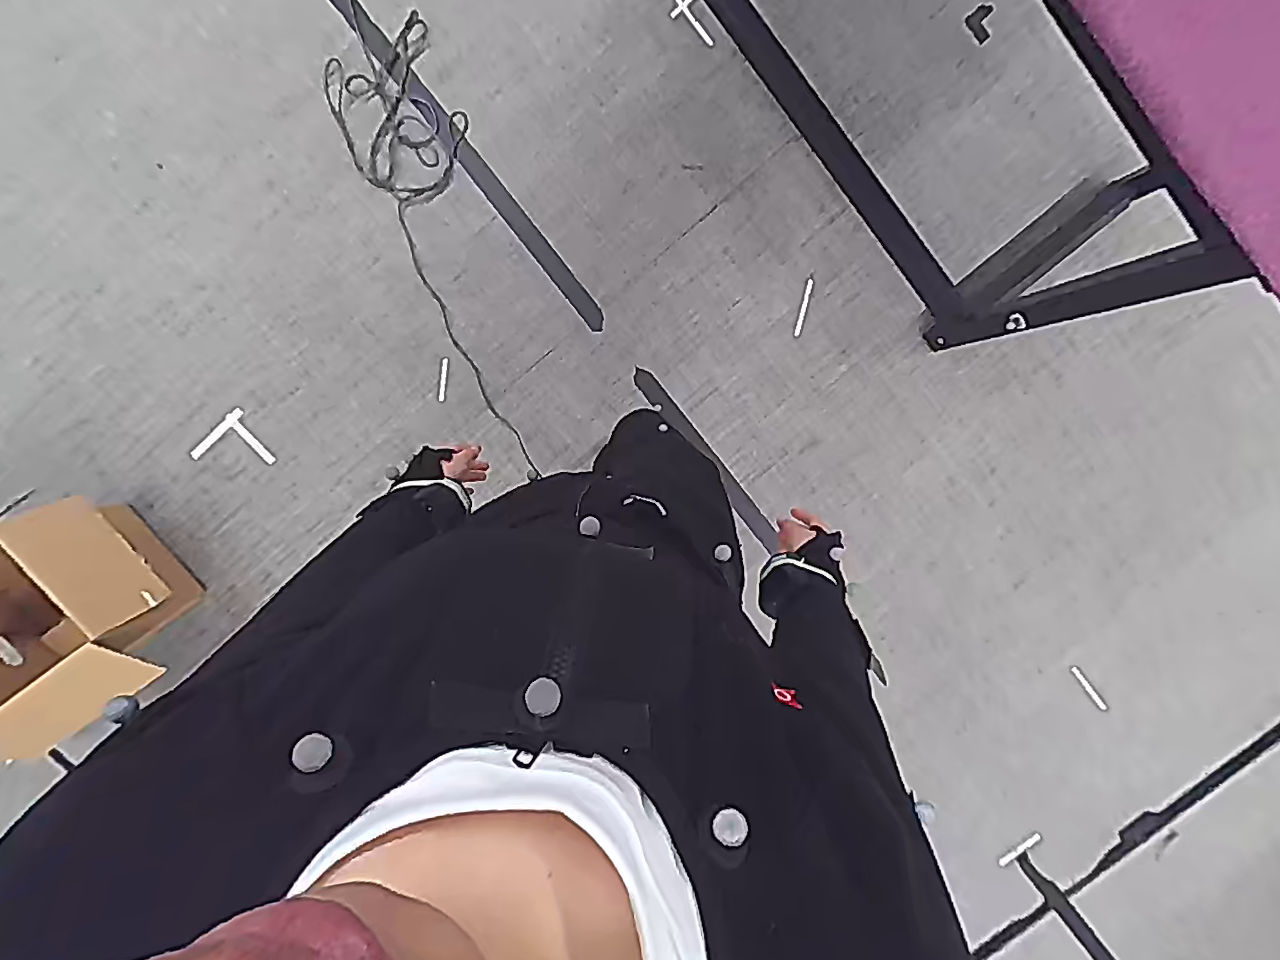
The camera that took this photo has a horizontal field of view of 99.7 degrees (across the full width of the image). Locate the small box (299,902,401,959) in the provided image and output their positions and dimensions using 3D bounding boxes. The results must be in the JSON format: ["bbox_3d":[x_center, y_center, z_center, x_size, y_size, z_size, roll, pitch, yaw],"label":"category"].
[{"bbox_3d":[-0.685,1.131,1.228,0.179,0.176,0.168,-42,96,3],"label":"small box"}]
